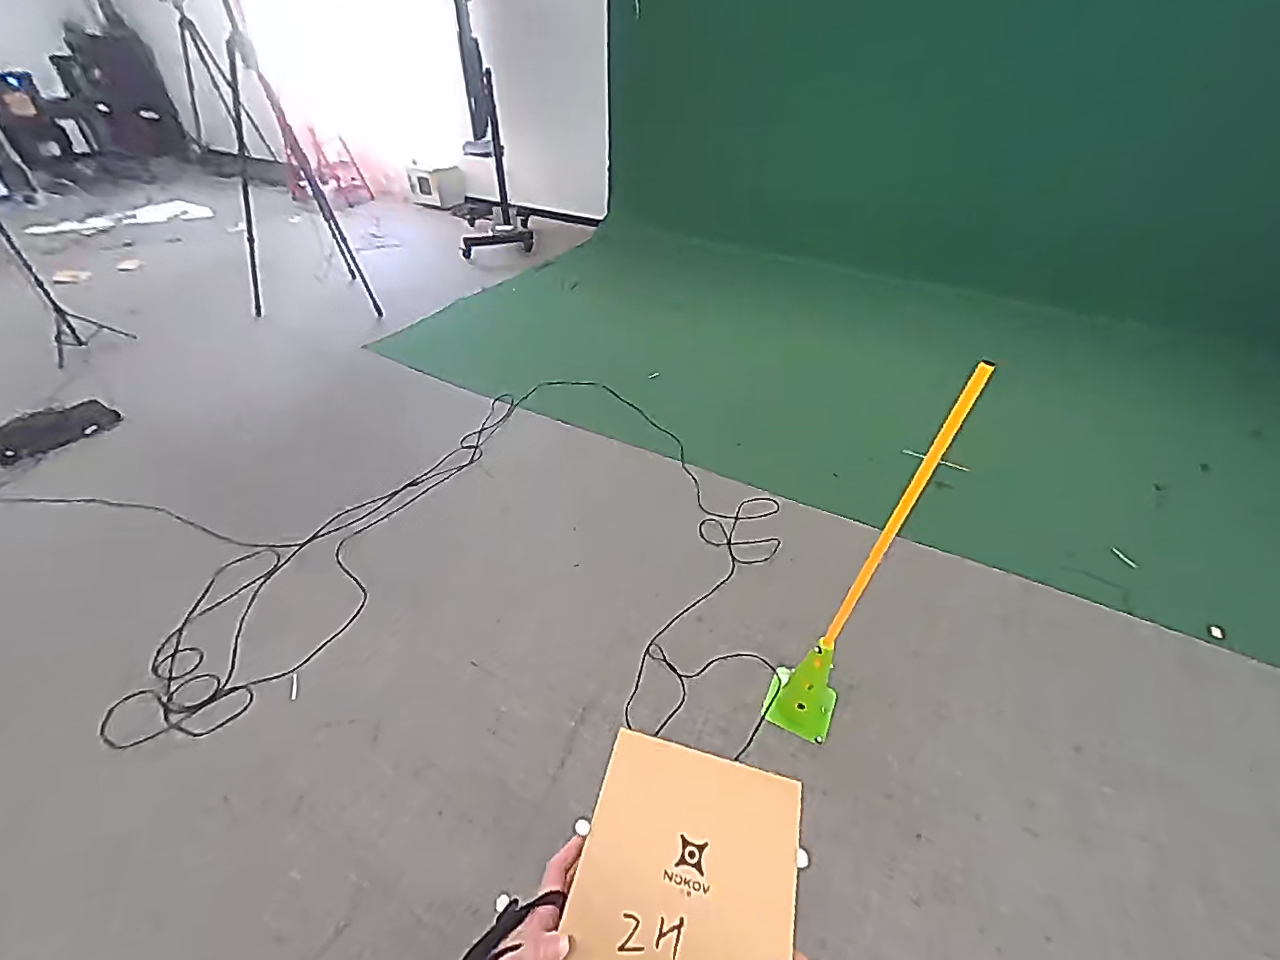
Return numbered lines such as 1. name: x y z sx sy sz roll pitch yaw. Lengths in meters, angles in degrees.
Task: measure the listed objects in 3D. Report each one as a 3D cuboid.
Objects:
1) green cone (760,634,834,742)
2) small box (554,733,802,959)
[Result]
1. green cone: 0.508 0.582 1.620 0.202 0.368 0.200 19 43 20
2. small box: 0.035 0.366 0.481 0.168 0.176 0.179 13 45 11
